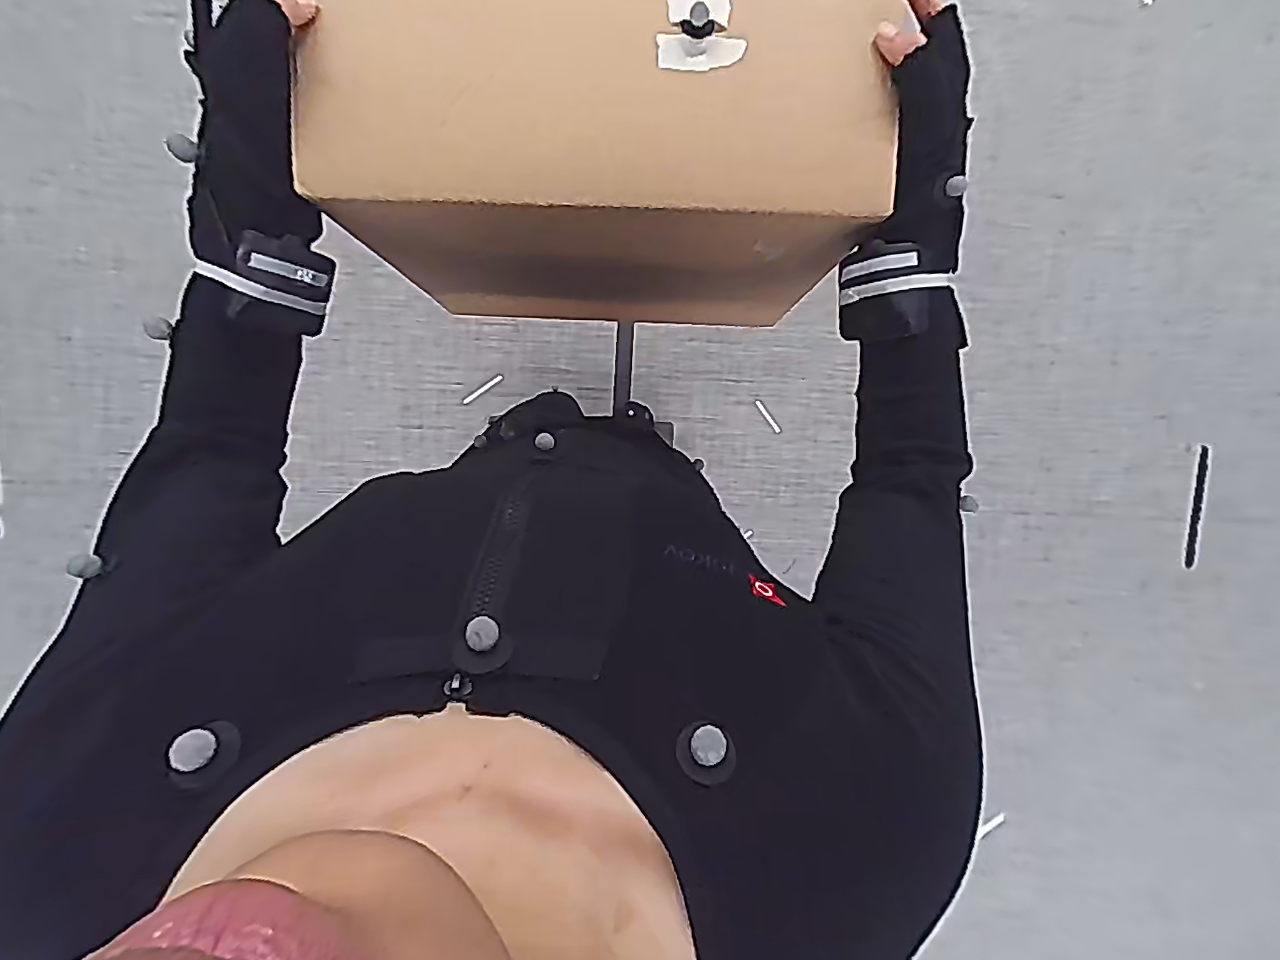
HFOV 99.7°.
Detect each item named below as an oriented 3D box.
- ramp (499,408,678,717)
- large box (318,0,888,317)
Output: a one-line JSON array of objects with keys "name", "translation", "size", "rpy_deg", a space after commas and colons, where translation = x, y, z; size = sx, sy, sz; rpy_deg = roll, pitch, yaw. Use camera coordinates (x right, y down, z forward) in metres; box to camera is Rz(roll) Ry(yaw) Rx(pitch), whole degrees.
[{"name": "ramp", "translation": [-0.153, 0.287, 1.604], "size": [0.509, 0.206, 0.991], "rpy_deg": [0, 97, -2]}, {"name": "large box", "translation": [-0.027, -0.354, 0.525], "size": [0.408, 0.320, 0.320], "rpy_deg": [2, 93, -1]}]
